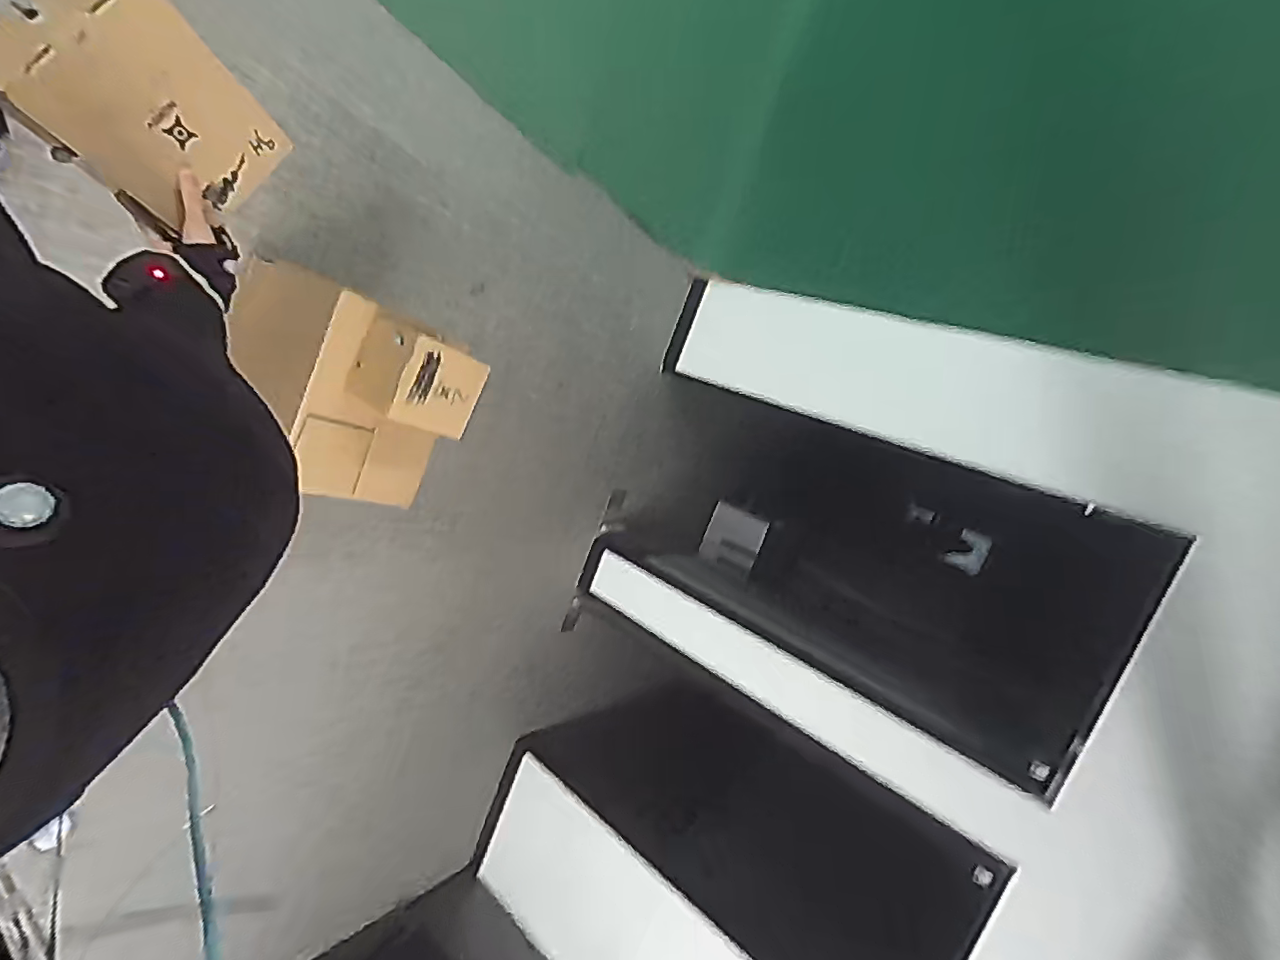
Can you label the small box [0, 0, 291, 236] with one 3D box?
[{"bbox_3d":[-0.534,-0.400,0.570,0.168,0.176,0.179,-56,156,-10],"label":"small box"}]
